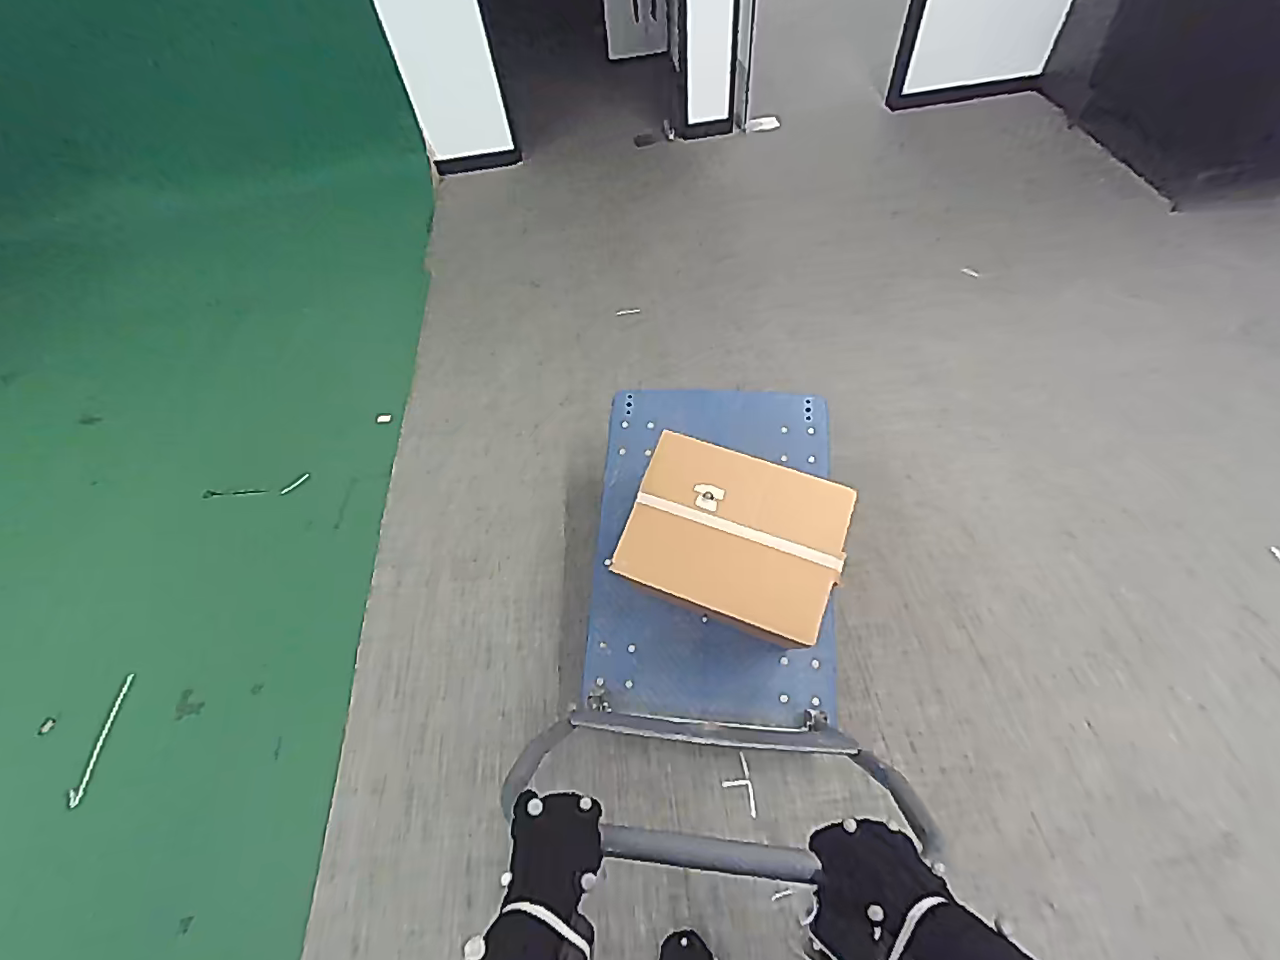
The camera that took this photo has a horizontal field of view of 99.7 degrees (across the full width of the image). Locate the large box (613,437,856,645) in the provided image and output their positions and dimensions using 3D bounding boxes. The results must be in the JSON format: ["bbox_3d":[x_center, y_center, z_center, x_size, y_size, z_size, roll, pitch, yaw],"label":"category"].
[{"bbox_3d":[0.204,0.147,1.181,0.408,0.320,0.320,18,75,13],"label":"large box"}]
